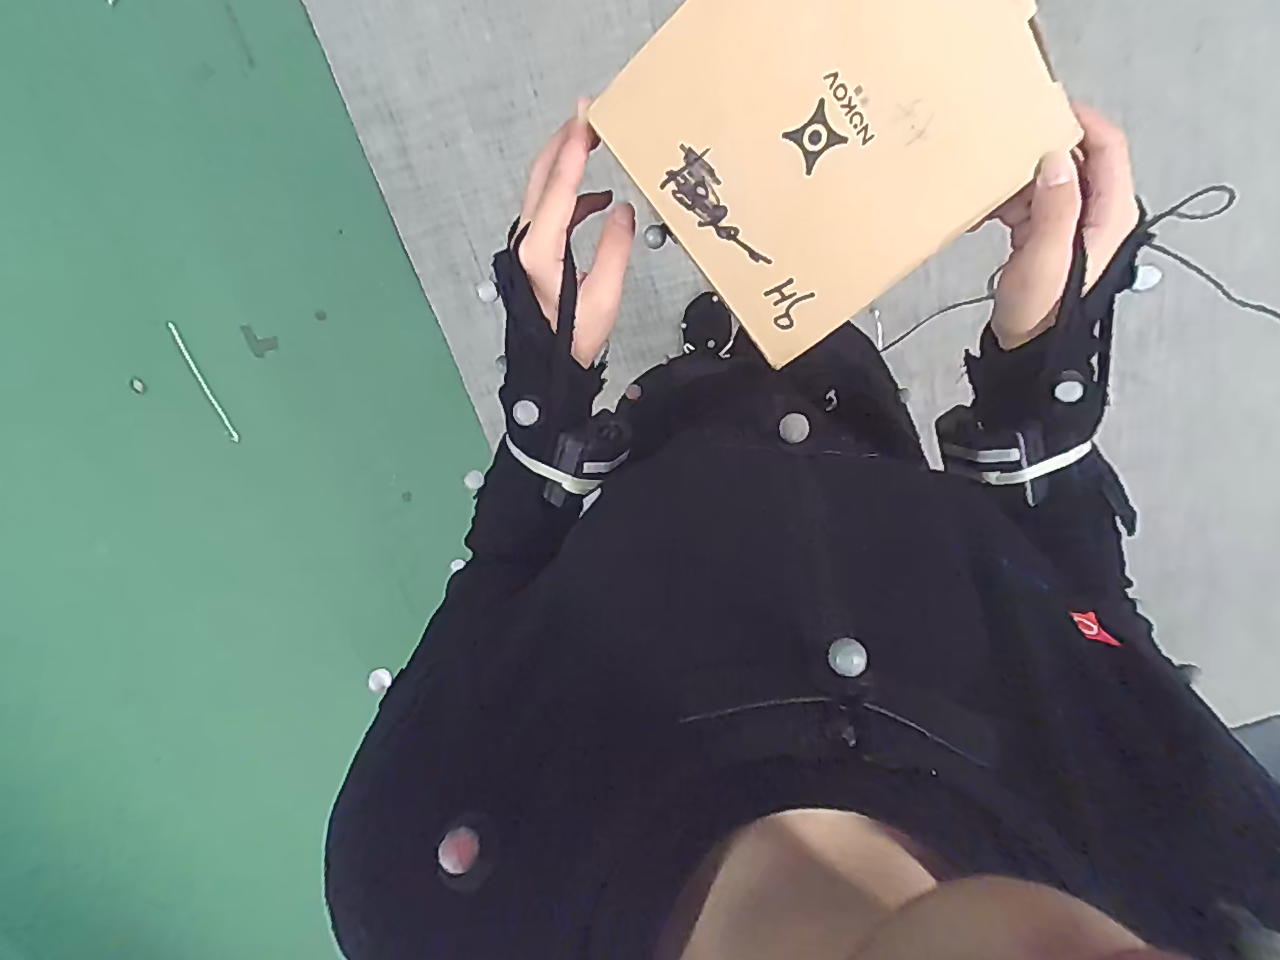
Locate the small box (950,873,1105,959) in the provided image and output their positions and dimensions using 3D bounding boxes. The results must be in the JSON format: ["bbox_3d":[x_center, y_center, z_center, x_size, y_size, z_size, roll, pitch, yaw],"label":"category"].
[{"bbox_3d":[0.608,0.747,0.822,0.168,0.176,0.179,-23,109,12],"label":"small box"}]
